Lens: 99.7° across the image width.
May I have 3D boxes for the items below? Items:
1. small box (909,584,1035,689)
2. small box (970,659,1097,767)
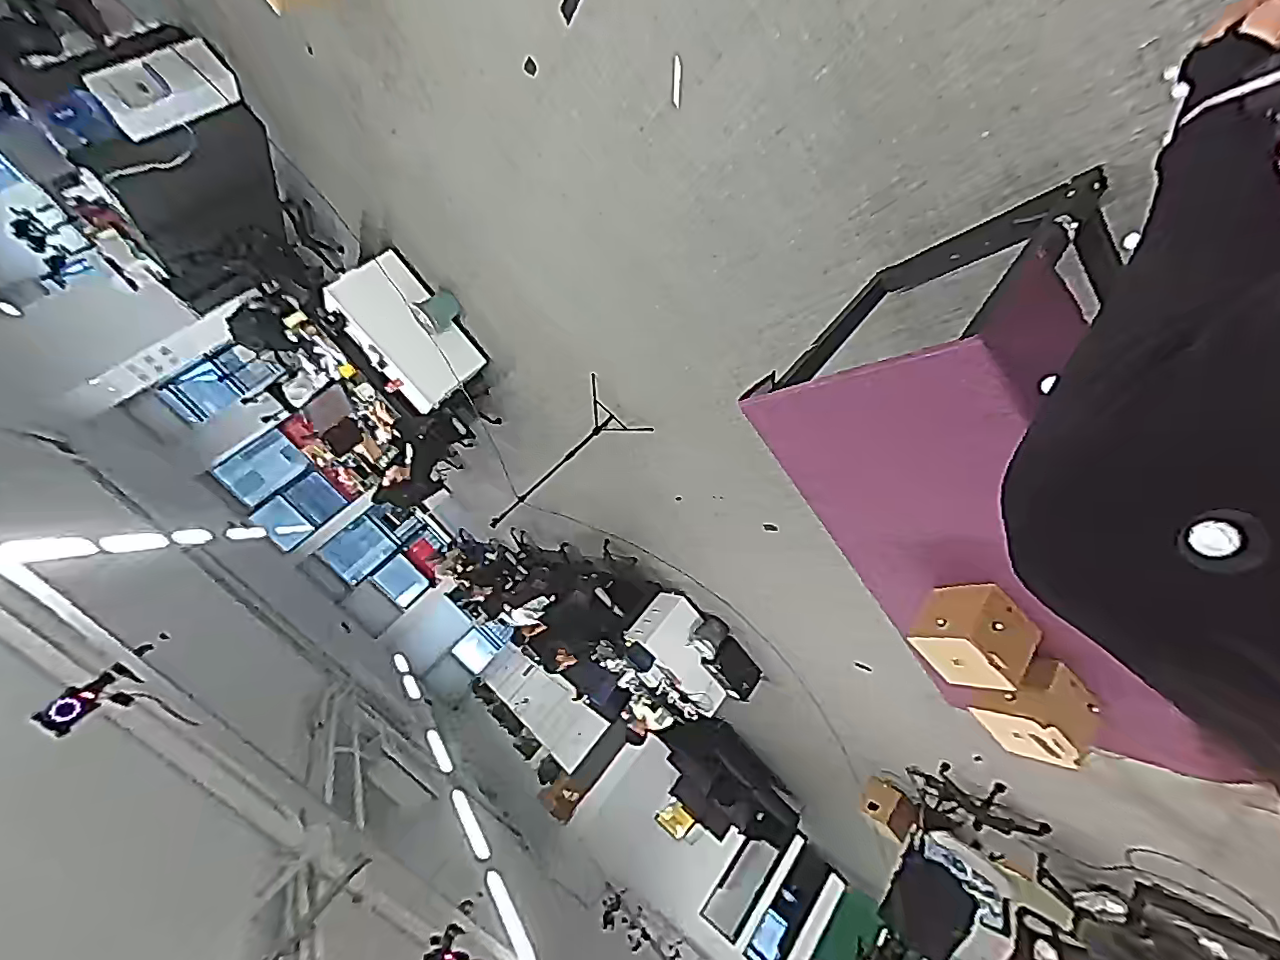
[{"bbox_3d":[0.785,0.360,1.270,0.168,0.176,0.179,46,156,-4],"label":"small box"},{"bbox_3d":[0.953,0.545,1.302,0.168,0.176,0.179,47,157,-5],"label":"small box"}]
